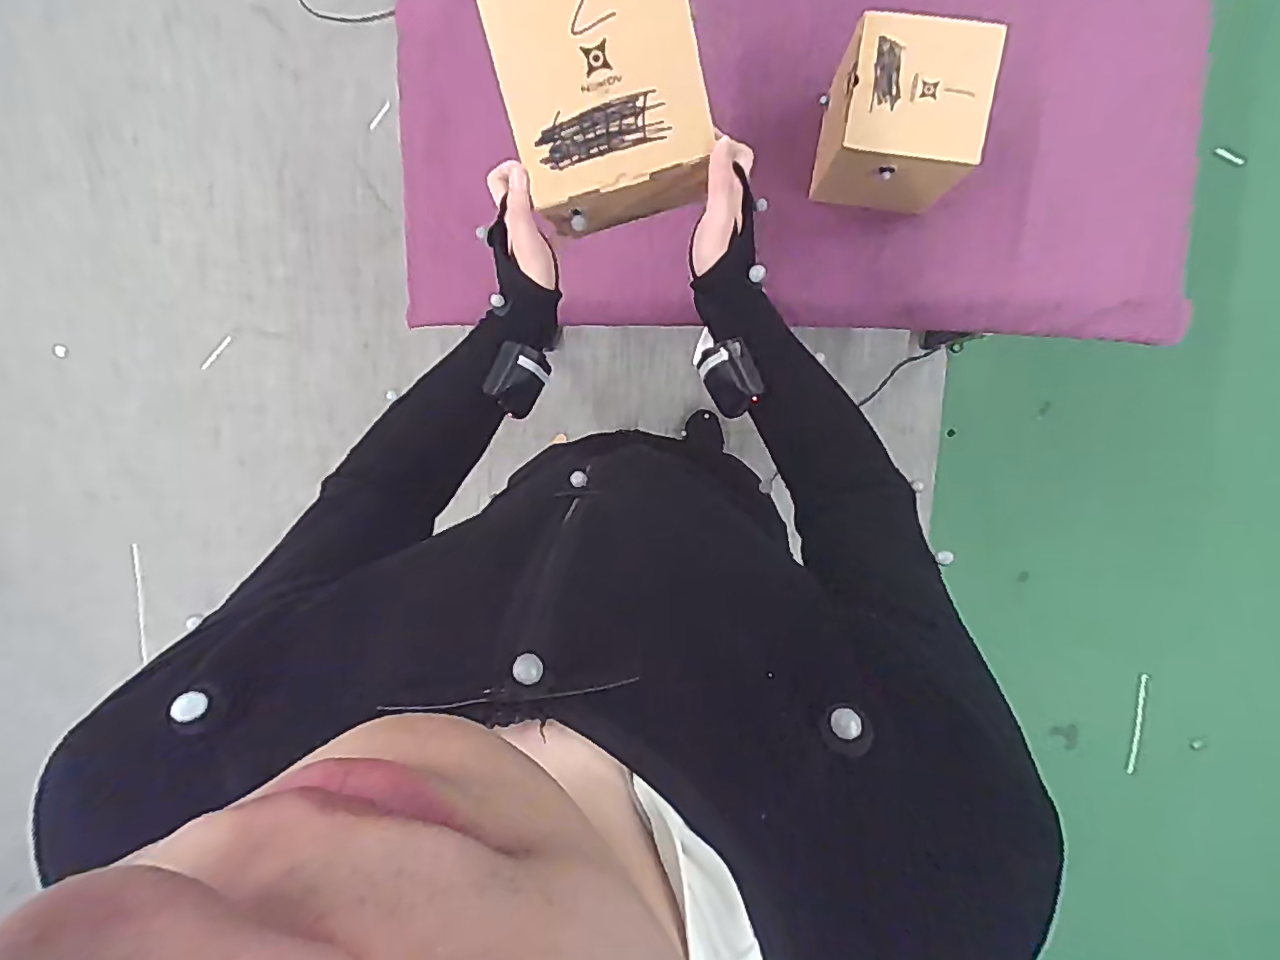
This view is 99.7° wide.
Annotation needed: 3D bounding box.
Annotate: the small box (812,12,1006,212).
[{"bbox_3d":[0.356,-0.496,0.754,0.179,0.176,0.168,9,97,2],"label":"small box"}]
